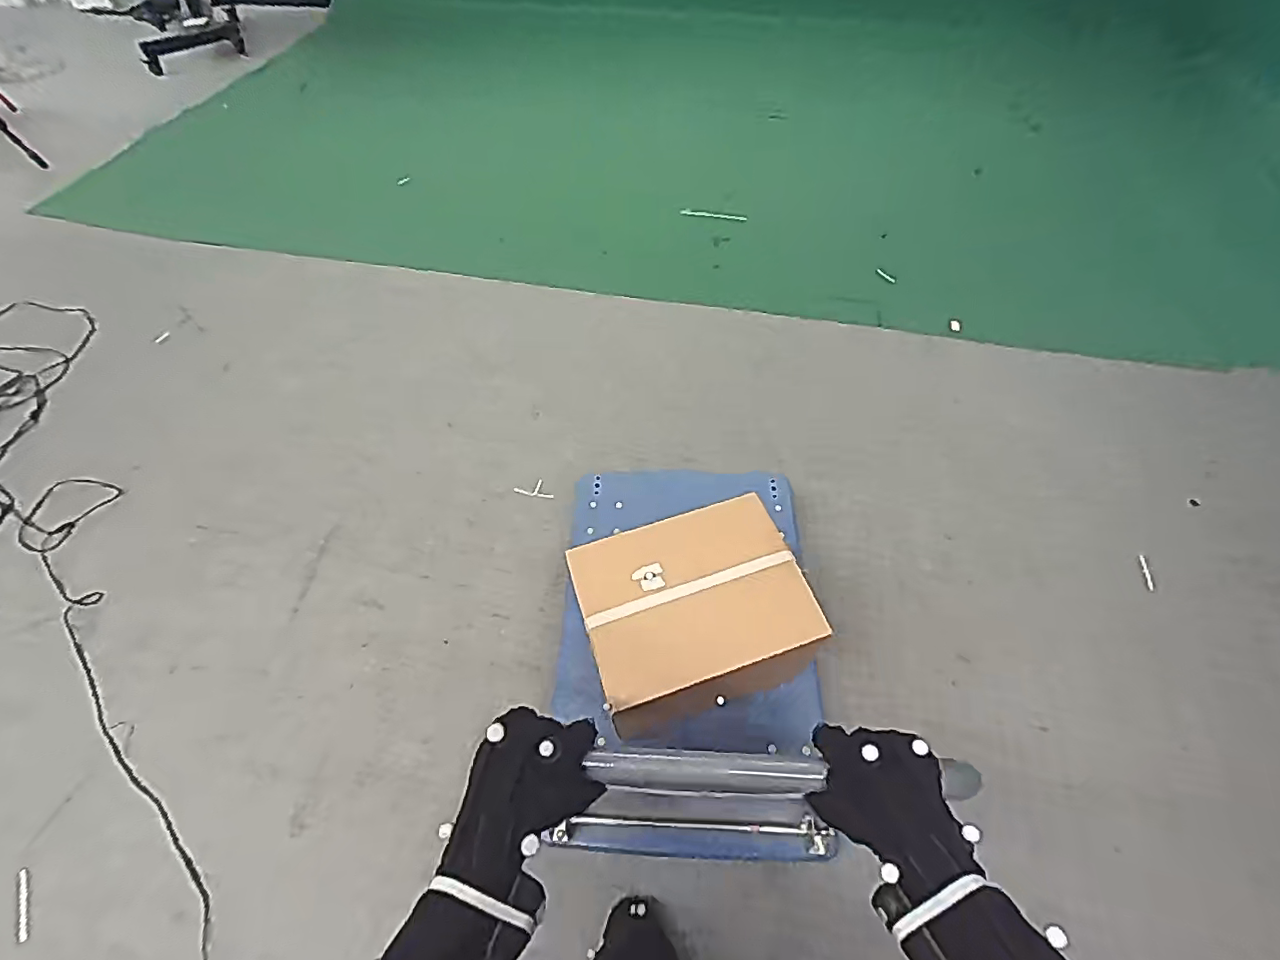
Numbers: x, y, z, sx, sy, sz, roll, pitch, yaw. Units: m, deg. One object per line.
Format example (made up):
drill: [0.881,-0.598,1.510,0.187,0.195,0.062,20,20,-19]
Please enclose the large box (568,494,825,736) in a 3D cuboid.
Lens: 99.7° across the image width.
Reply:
large box: [0.102,0.287,1.126,0.408,0.320,0.320,-18,57,-8]
